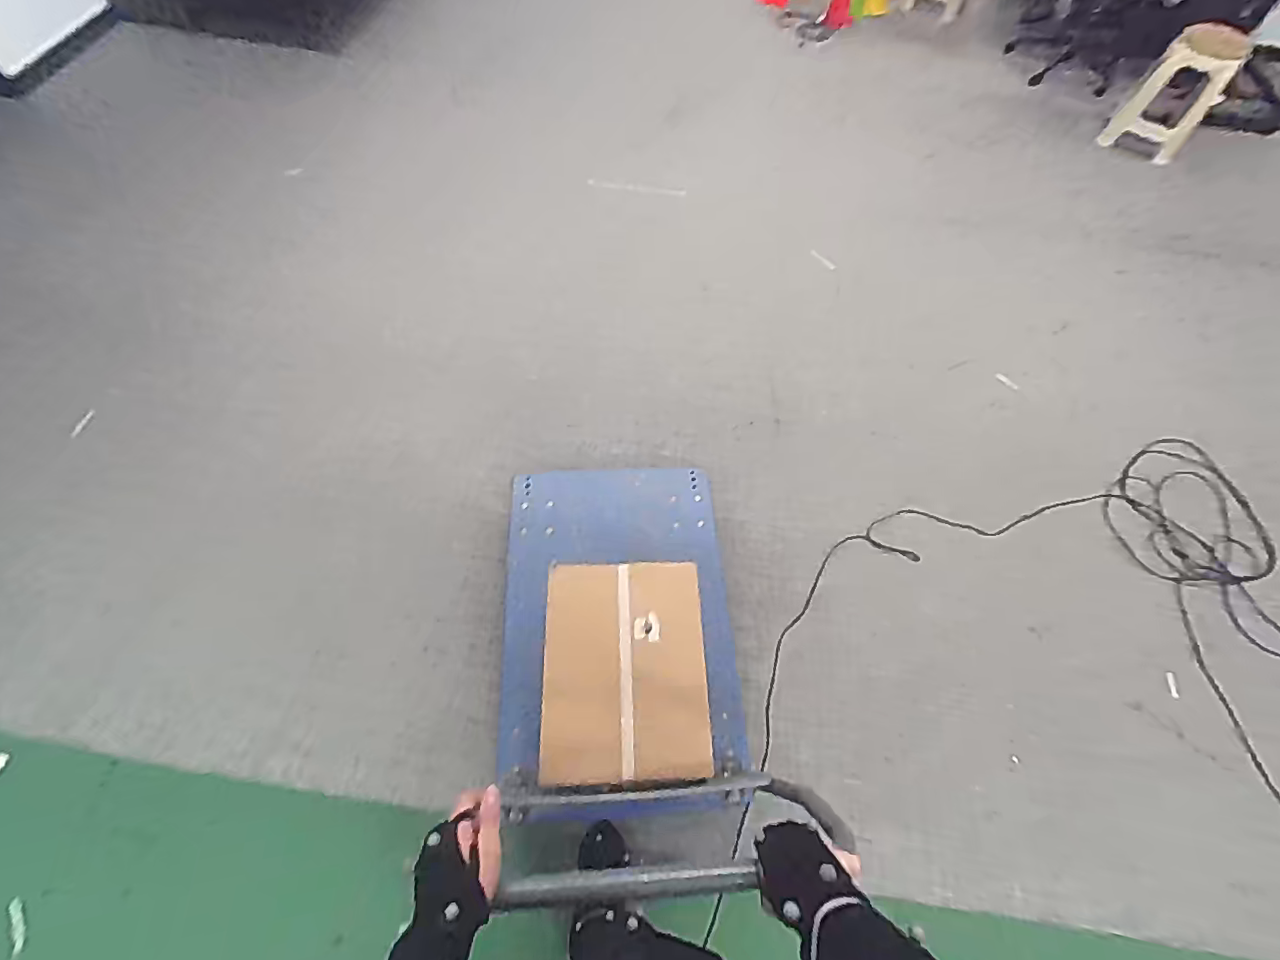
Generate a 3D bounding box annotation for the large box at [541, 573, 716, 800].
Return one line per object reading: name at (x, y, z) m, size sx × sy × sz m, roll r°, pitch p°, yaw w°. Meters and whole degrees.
large box at (-0.033, 0.448, 1.168) m, size 0.320 × 0.320 × 0.408 m, roll -1°, pitch 60°, yaw -4°
